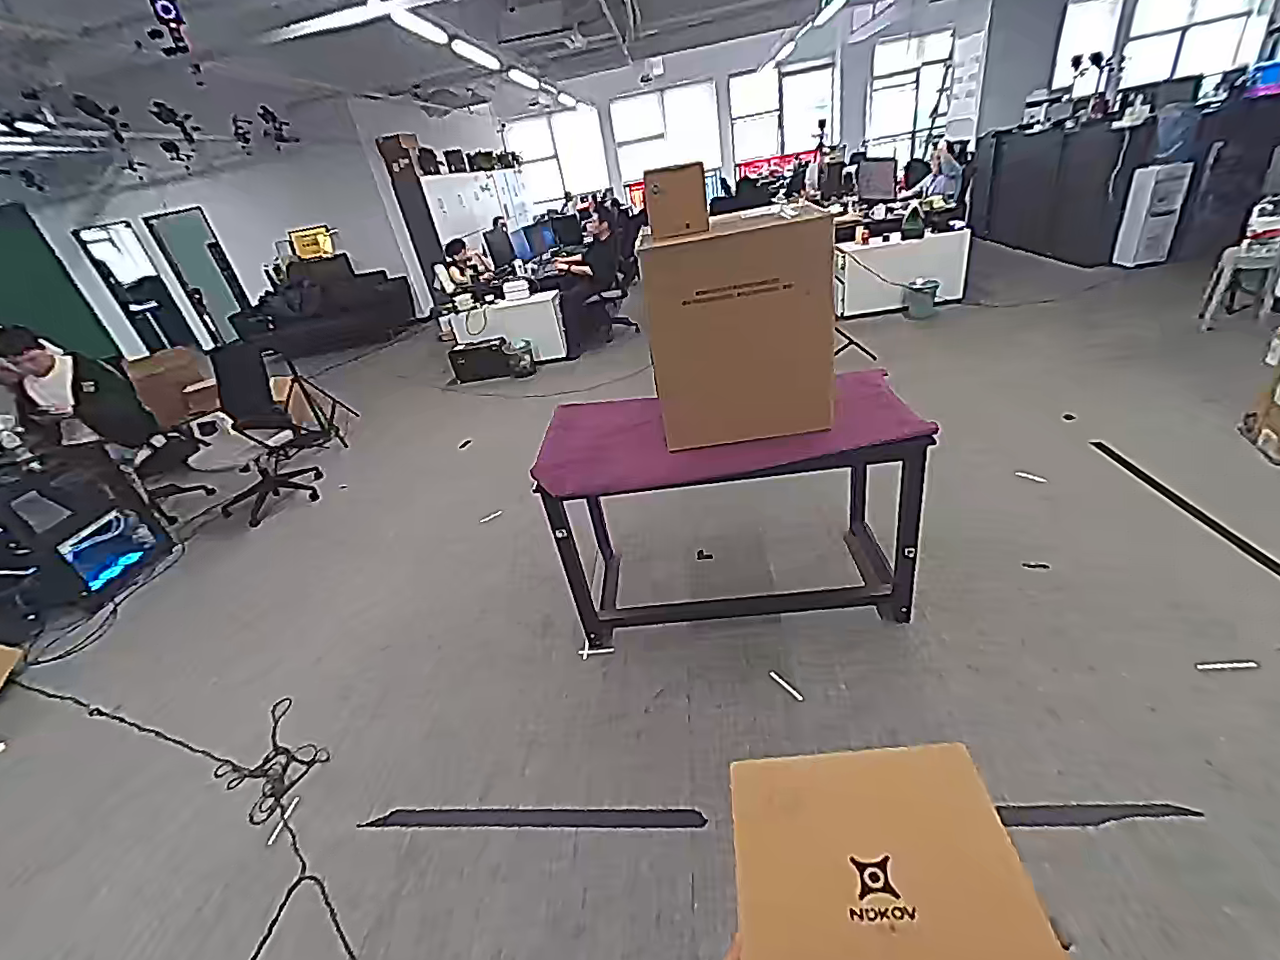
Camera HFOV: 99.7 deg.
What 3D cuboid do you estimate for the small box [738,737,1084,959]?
[{"bbox_3d":[0.161,0.300,0.347,0.168,0.176,0.179,-11,26,11],"label":"small box"}]
